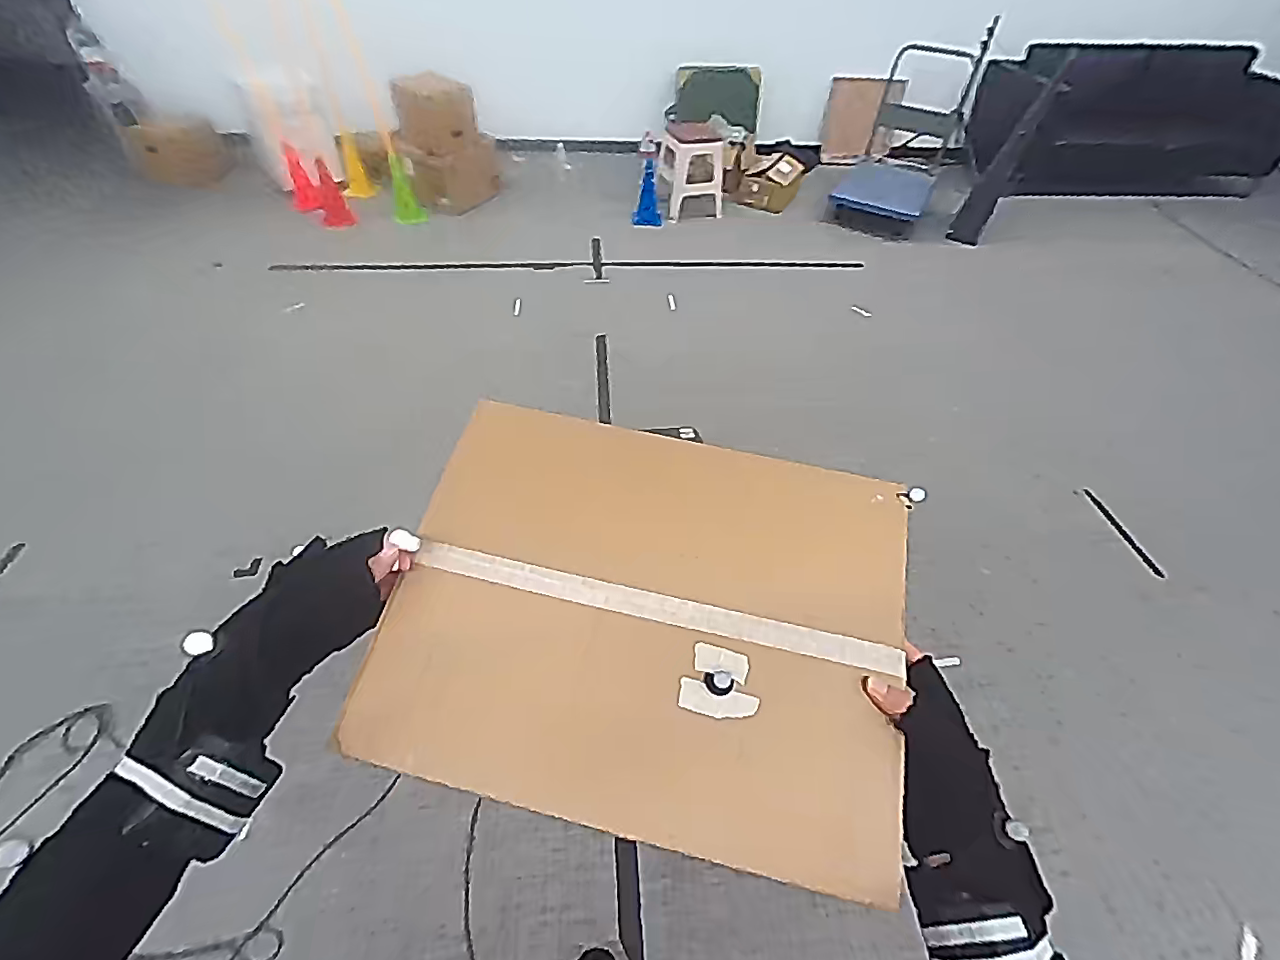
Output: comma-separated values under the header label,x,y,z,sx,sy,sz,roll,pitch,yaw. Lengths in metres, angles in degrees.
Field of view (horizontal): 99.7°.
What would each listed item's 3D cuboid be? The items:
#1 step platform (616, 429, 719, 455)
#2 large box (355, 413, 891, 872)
label,x,y,z,sx,sy,sz,roll,pitch,yaw
step platform,-0.058,-0.012,1.891,0.684,0.204,0.286,-3,48,-7
large box,0.005,0.168,0.587,0.408,0.320,0.320,12,65,5
